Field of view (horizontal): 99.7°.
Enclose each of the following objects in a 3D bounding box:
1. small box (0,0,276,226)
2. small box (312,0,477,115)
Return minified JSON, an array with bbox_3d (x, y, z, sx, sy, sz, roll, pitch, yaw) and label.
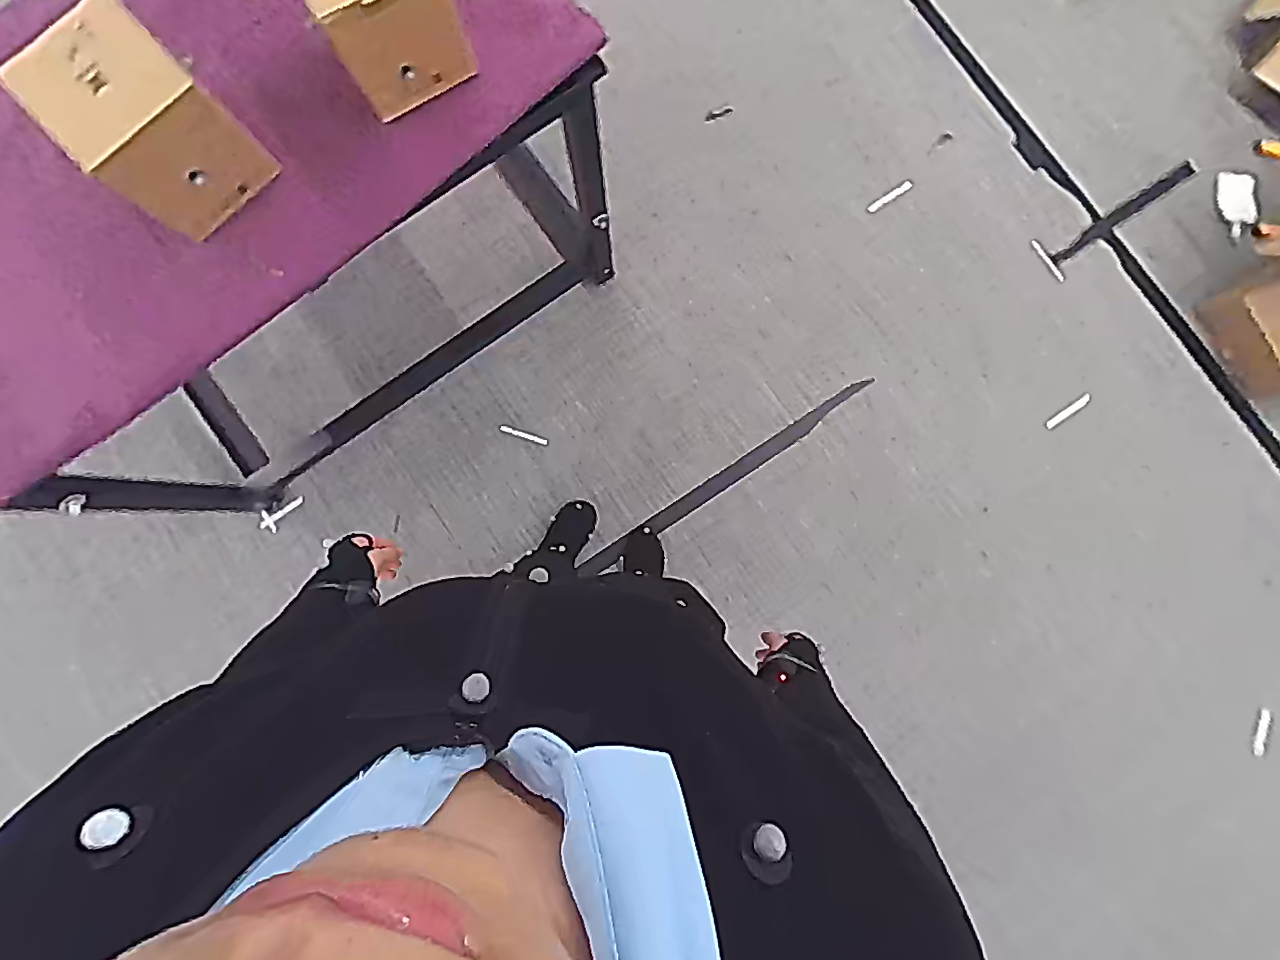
[{"bbox_3d":[-0.645,-0.475,0.723,0.168,0.176,0.179,-43,87,-4],"label":"small box"},{"bbox_3d":[-0.353,-0.659,0.739,0.168,0.176,0.179,-30,86,-2],"label":"small box"}]
